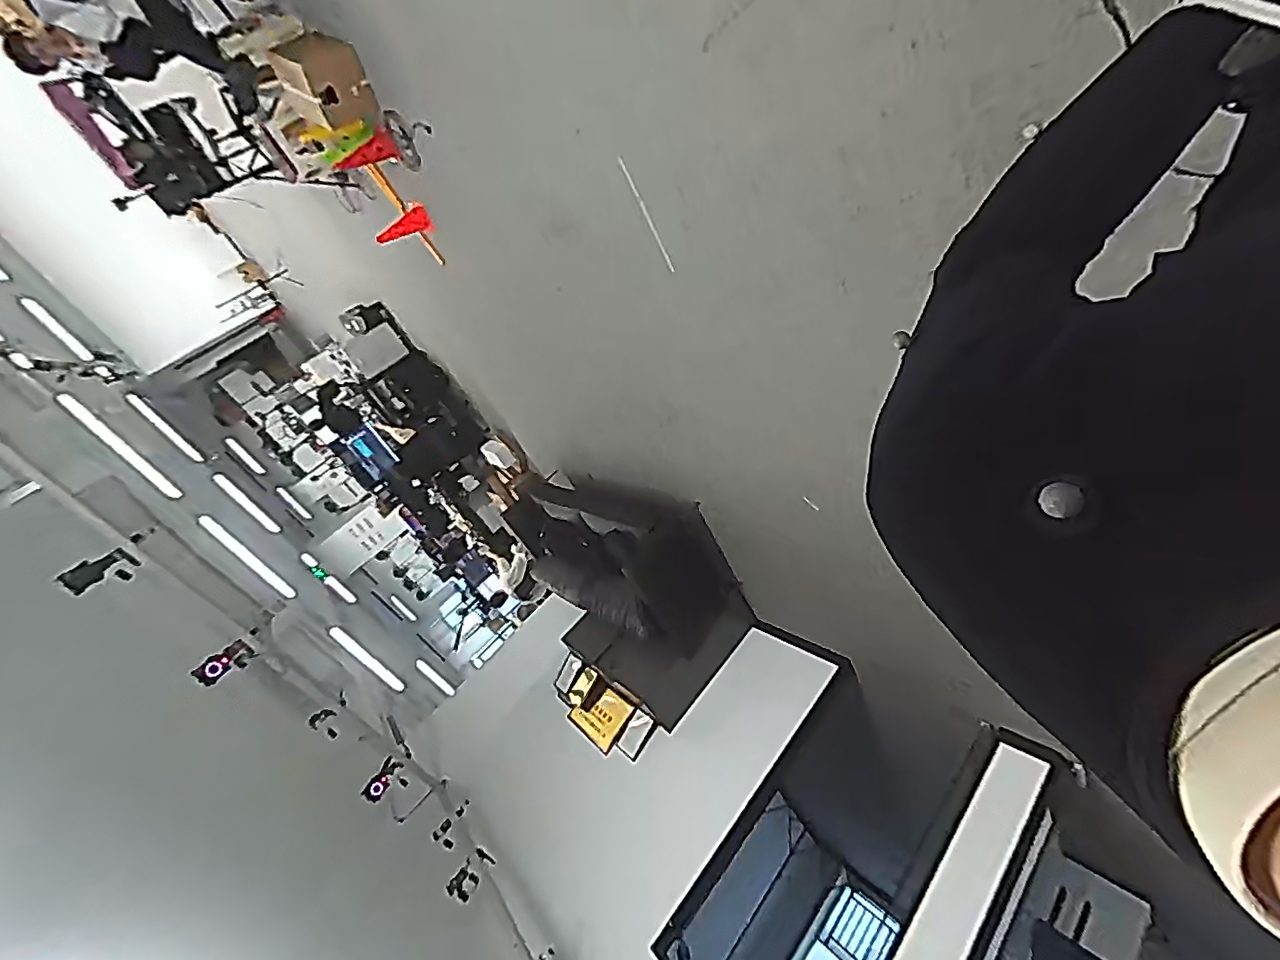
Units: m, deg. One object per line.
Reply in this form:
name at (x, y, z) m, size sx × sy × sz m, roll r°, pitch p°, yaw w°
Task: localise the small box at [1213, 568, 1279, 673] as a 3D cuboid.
small box at (1.545, 0.345, 1.317) m, size 0.168 × 0.176 × 0.179 m, roll 17°, pitch 142°, yaw 48°
